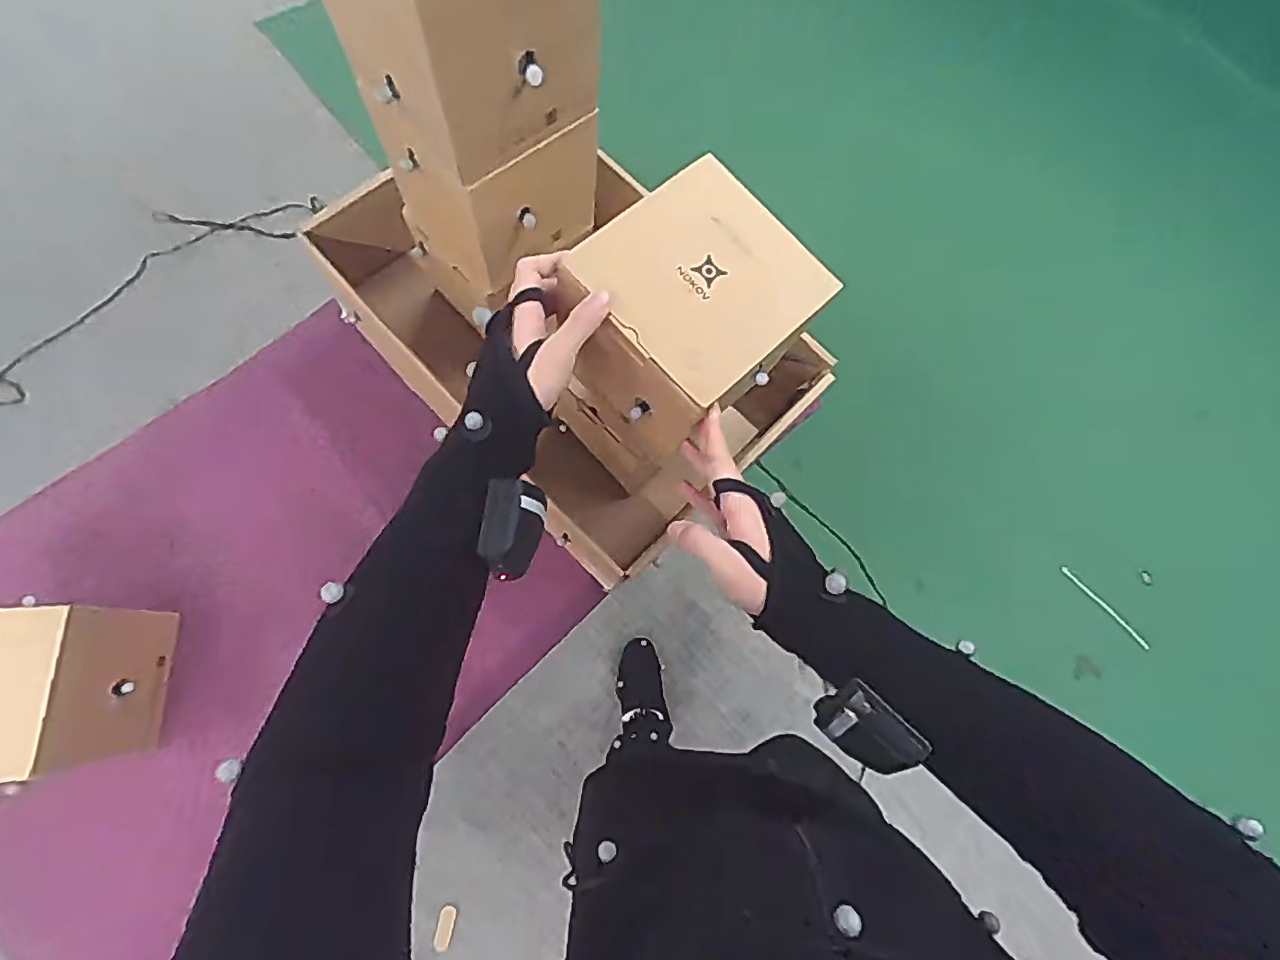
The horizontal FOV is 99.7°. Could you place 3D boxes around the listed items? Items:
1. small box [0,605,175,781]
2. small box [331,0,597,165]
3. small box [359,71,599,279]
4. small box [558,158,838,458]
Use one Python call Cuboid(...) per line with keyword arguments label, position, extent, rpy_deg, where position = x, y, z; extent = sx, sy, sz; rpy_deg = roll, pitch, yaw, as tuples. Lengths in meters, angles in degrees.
Cuboid(label="small box", position=(-0.675, 0.228, 0.600), extent=(0.179, 0.176, 0.168), rpy_deg=(-1, 73, -7))
Cuboid(label="small box", position=(-0.145, -0.401, 0.447), extent=(0.168, 0.176, 0.179), rpy_deg=(-40, 83, -15))
Cuboid(label="small box", position=(-0.162, -0.356, 0.604), extent=(0.168, 0.176, 0.179), rpy_deg=(-41, 82, -15))
Cuboid(label="small box", position=(0.041, -0.145, 0.513), extent=(0.179, 0.176, 0.168), rpy_deg=(-41, 86, -16))
